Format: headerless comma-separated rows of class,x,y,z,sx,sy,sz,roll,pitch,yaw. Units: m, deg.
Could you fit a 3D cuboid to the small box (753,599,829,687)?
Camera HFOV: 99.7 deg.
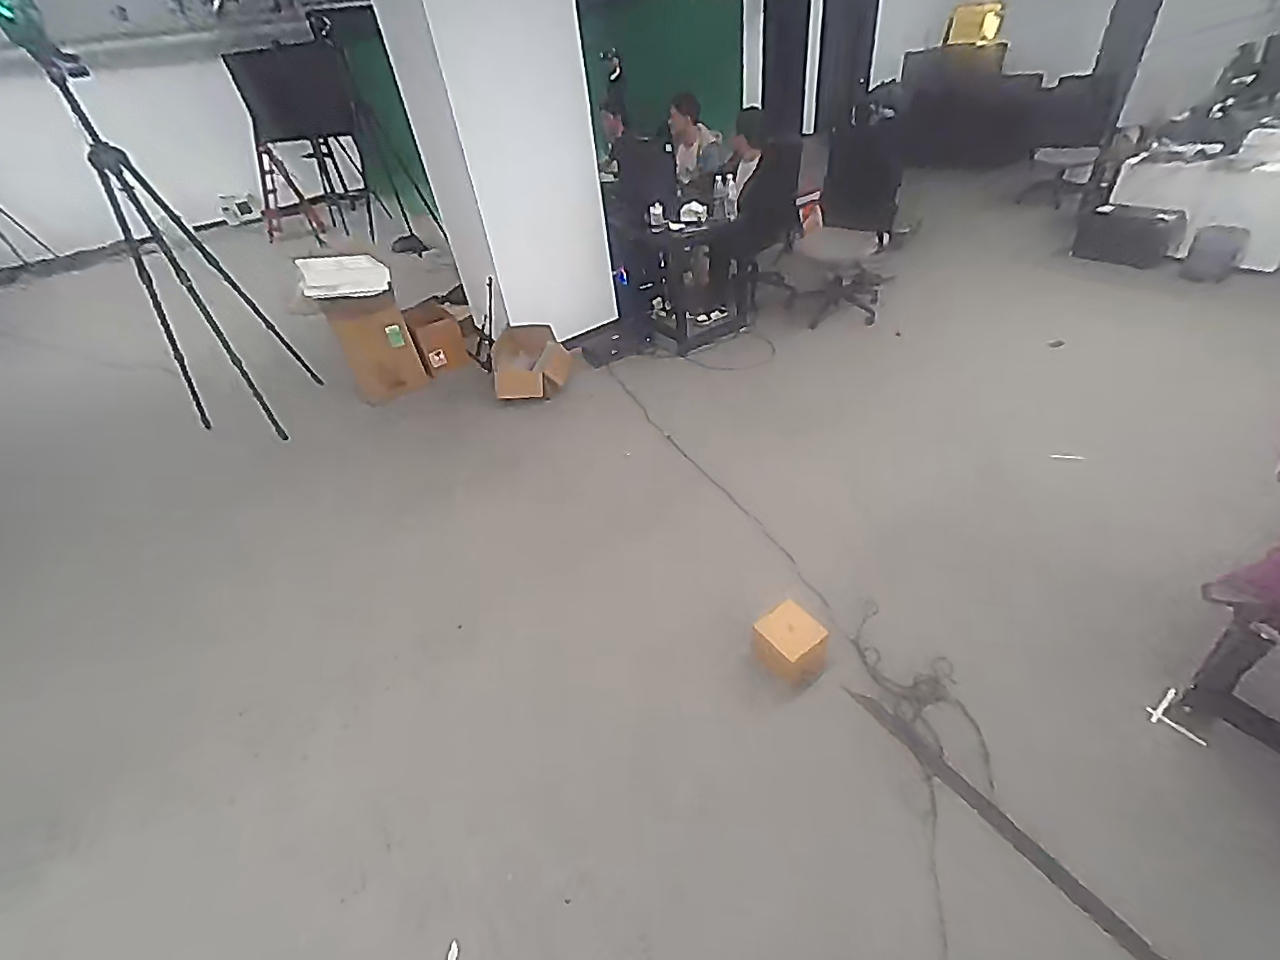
small box,0.483,0.529,1.751,0.168,0.176,0.179,-29,43,-21
